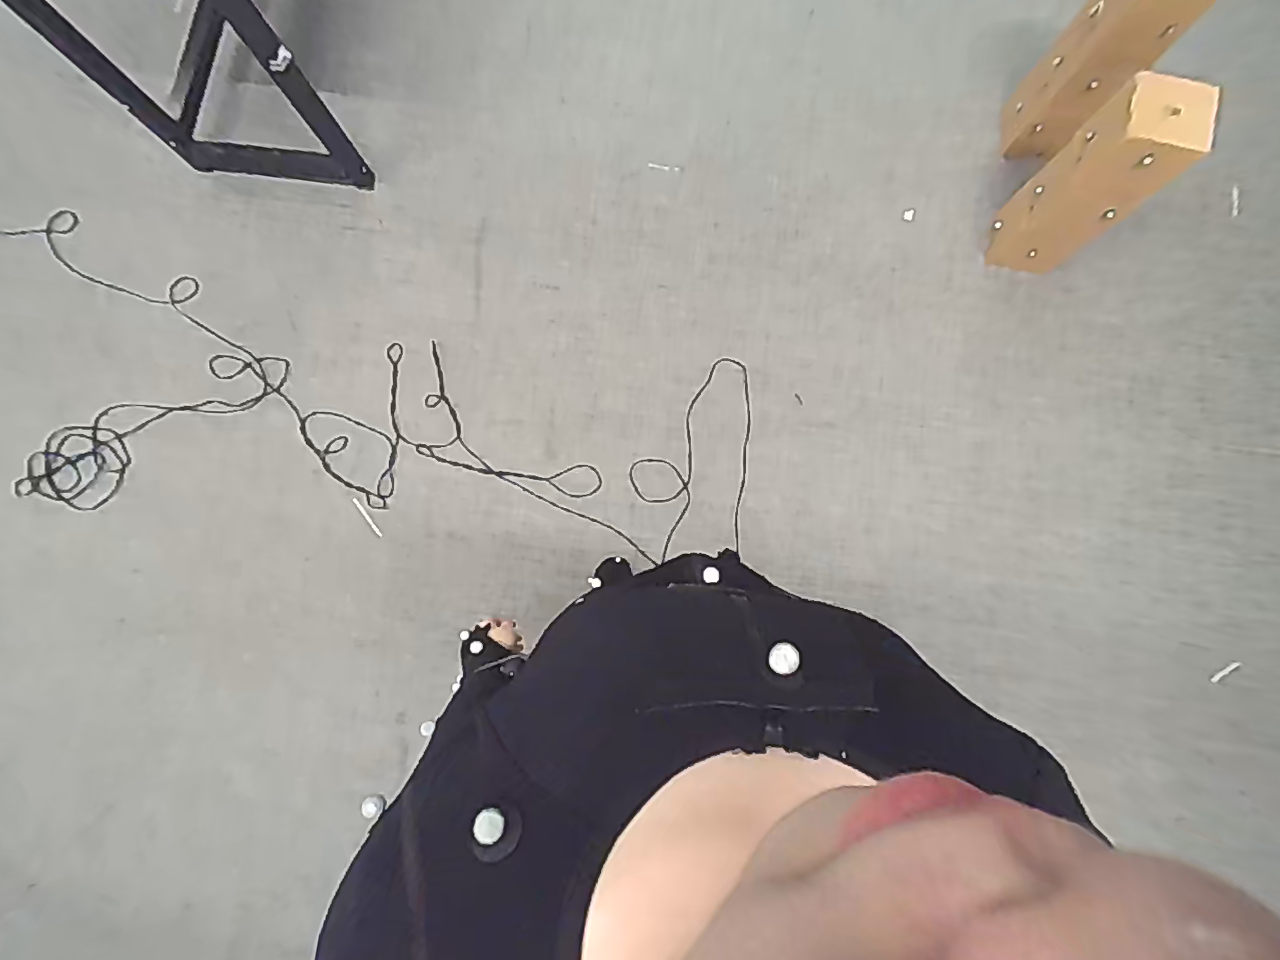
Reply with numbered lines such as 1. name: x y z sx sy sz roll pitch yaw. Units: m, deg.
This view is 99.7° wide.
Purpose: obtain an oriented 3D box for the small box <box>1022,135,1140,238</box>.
1. small box: 1.146 -0.760 1.406 0.179 0.176 0.168 12 82 2

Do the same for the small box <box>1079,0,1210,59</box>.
1. small box: 1.209 -1.158 1.298 0.179 0.176 0.168 6 80 2

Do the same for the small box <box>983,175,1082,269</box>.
1. small box: 1.145 -0.740 1.569 0.179 0.176 0.168 14 82 3

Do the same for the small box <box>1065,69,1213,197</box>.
1. small box: 1.140 -0.787 1.246 0.179 0.176 0.168 14 83 3

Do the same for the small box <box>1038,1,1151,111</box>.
1. small box: 1.215 -1.136 1.459 0.179 0.176 0.168 5 82 2
